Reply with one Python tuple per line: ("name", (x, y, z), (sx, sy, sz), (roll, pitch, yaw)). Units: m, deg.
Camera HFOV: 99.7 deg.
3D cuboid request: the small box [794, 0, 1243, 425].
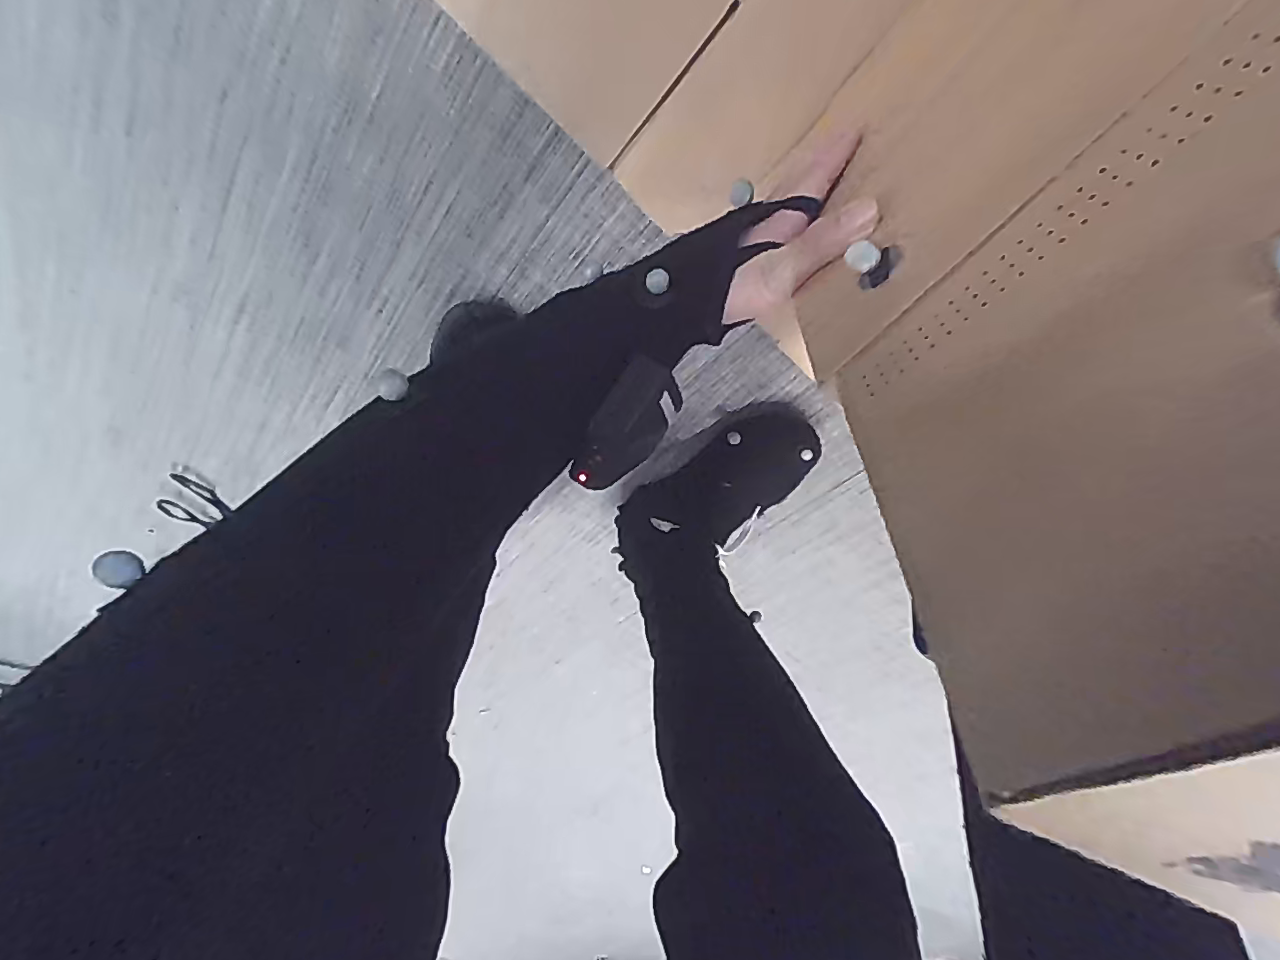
("small box", (0.196, -0.109, 0.271), (0.168, 0.176, 0.179), (30, 128, -20))
